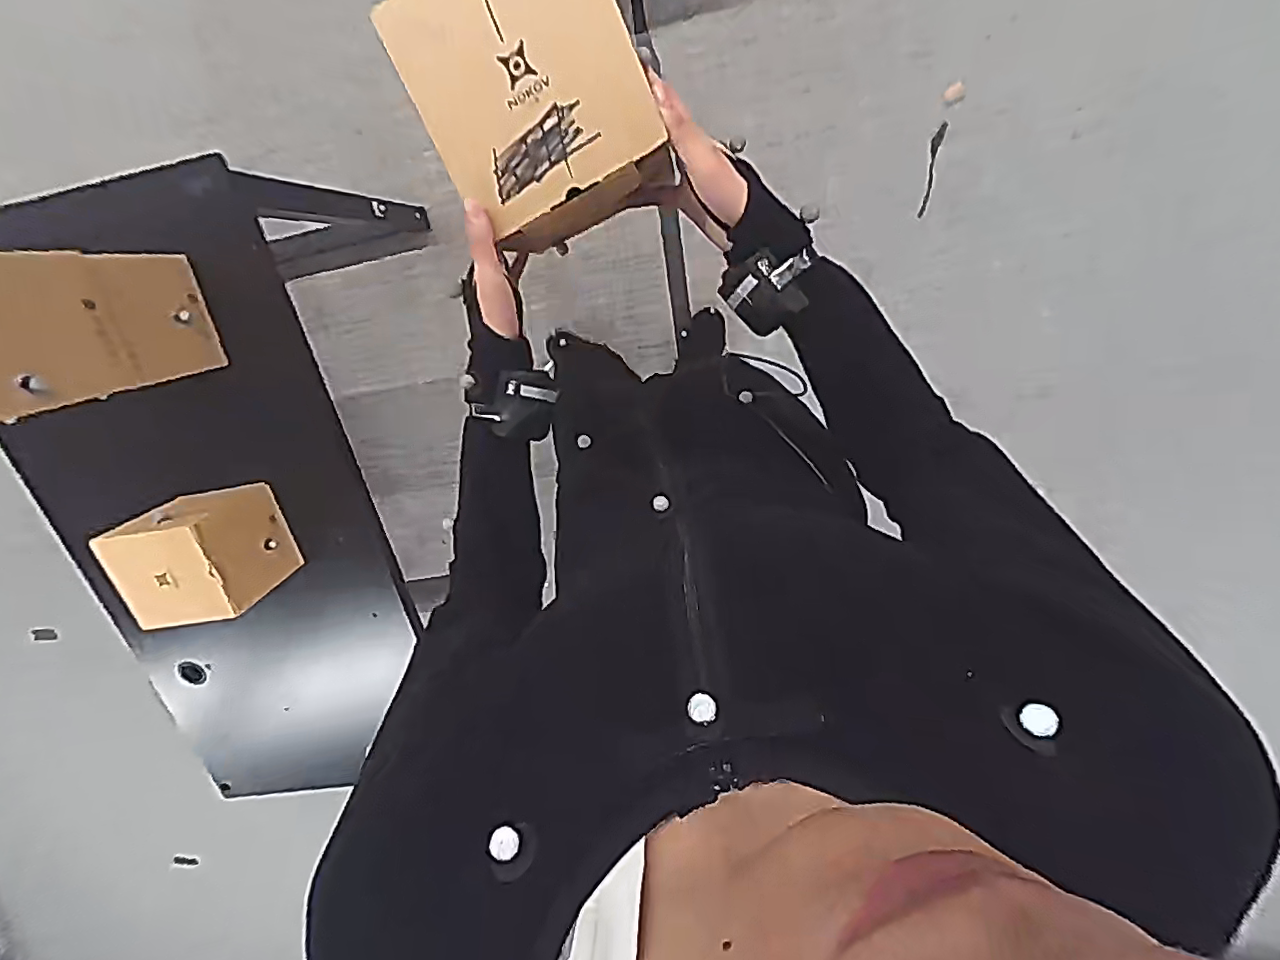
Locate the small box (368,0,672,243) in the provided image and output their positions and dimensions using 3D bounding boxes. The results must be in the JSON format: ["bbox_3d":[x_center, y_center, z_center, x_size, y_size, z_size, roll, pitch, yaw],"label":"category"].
[{"bbox_3d":[-0.077,-0.320,0.458,0.168,0.176,0.179,-21,107,12],"label":"small box"}]

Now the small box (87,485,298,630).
[{"bbox_3d":[-0.725,0.123,0.899,0.179,0.176,0.168,-9,111,7],"label":"small box"}]

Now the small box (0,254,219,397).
[{"bbox_3d":[-0.756,-0.220,0.757,0.179,0.176,0.168,-4,113,5],"label":"small box"}]
